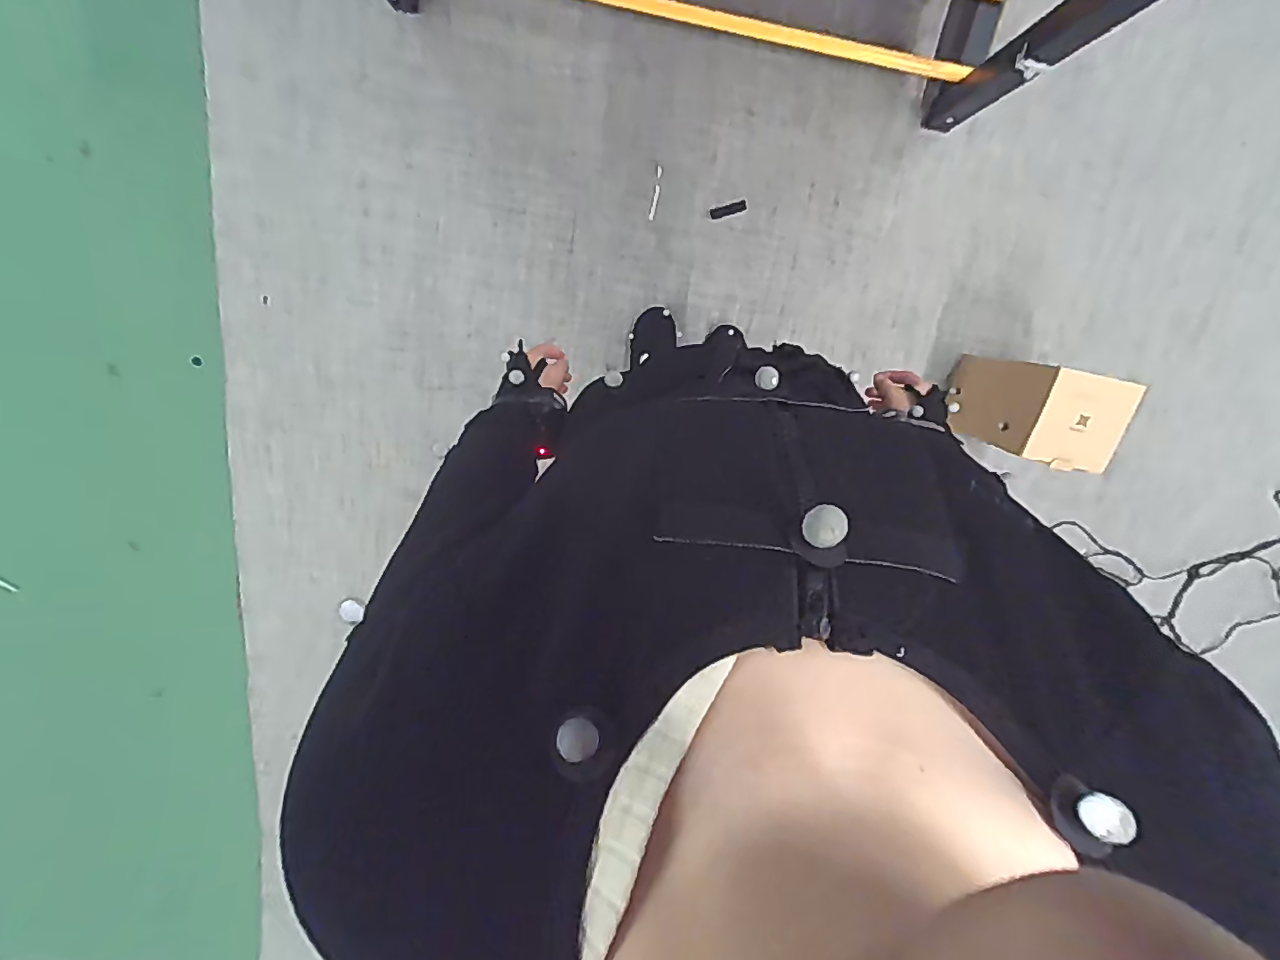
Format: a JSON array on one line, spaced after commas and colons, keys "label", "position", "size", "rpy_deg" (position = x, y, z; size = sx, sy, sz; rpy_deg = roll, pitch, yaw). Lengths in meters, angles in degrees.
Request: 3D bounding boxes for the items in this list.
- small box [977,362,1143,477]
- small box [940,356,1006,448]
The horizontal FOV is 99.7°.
[{"label": "small box", "position": [0.809, -0.125, 1.067], "size": [0.168, 0.176, 0.179], "rpy_deg": [12, 106, -2]}, {"label": "small box", "position": [0.818, -0.170, 1.224], "size": [0.168, 0.176, 0.179], "rpy_deg": [13, 109, -3]}]
